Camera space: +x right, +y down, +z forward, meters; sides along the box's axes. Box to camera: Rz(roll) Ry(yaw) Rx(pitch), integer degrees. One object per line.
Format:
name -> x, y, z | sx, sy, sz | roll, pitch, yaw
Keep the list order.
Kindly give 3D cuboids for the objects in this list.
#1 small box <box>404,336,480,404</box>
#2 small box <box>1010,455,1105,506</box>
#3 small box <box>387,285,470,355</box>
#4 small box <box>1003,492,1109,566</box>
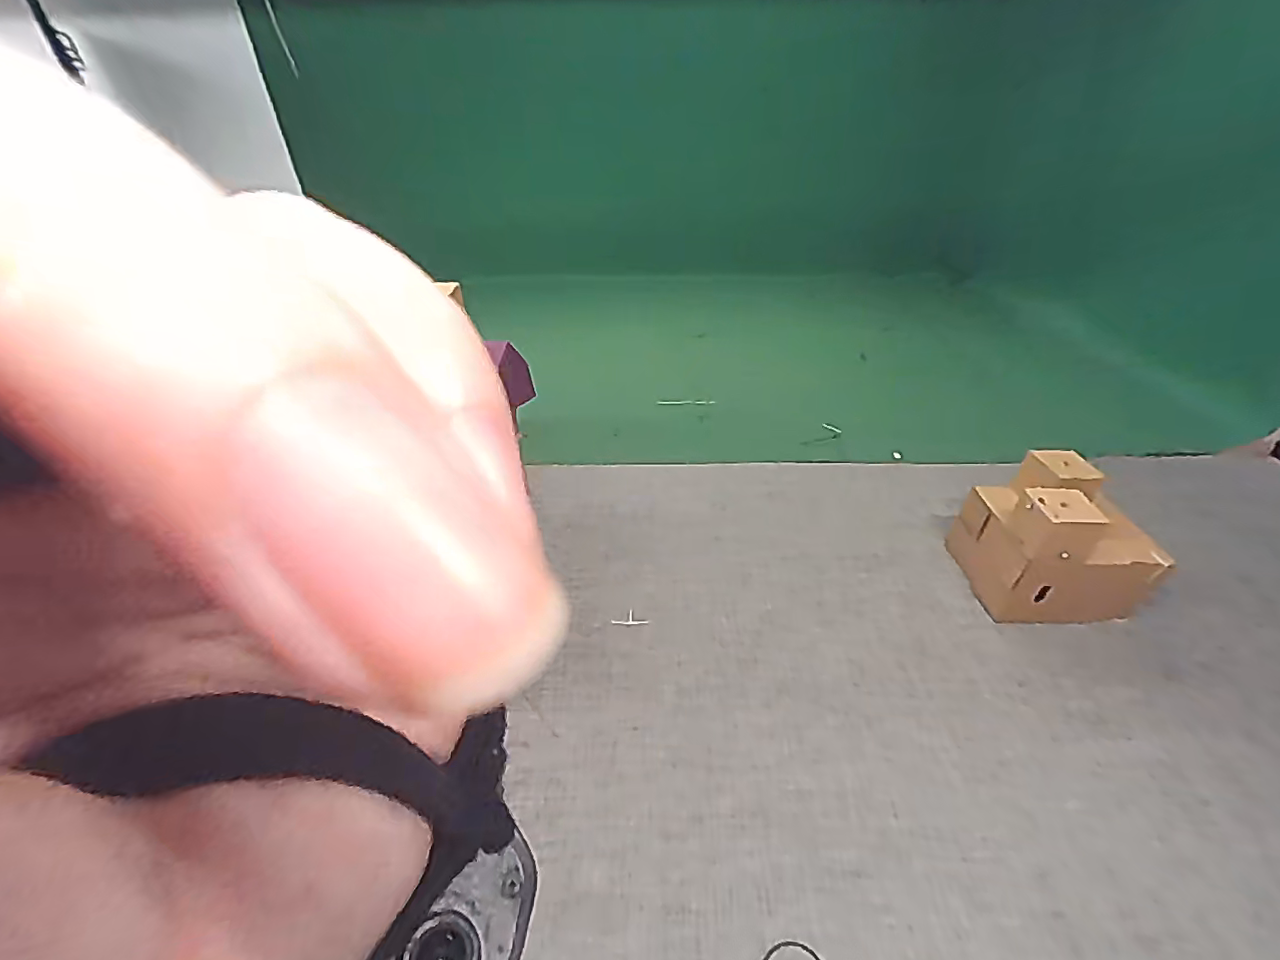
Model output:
small box -> -0.634, -0.357, 1.760 | 0.179, 0.176, 0.168 | -1, 36, 1
small box -> 1.455, 0.028, 1.897 | 0.168, 0.176, 0.179 | 1, 35, -2
small box -> -0.644, -0.492, 1.668 | 0.179, 0.176, 0.168 | 0, 36, 0
small box -> 1.304, 0.158, 1.710 | 0.179, 0.176, 0.168 | 2, 36, 1
